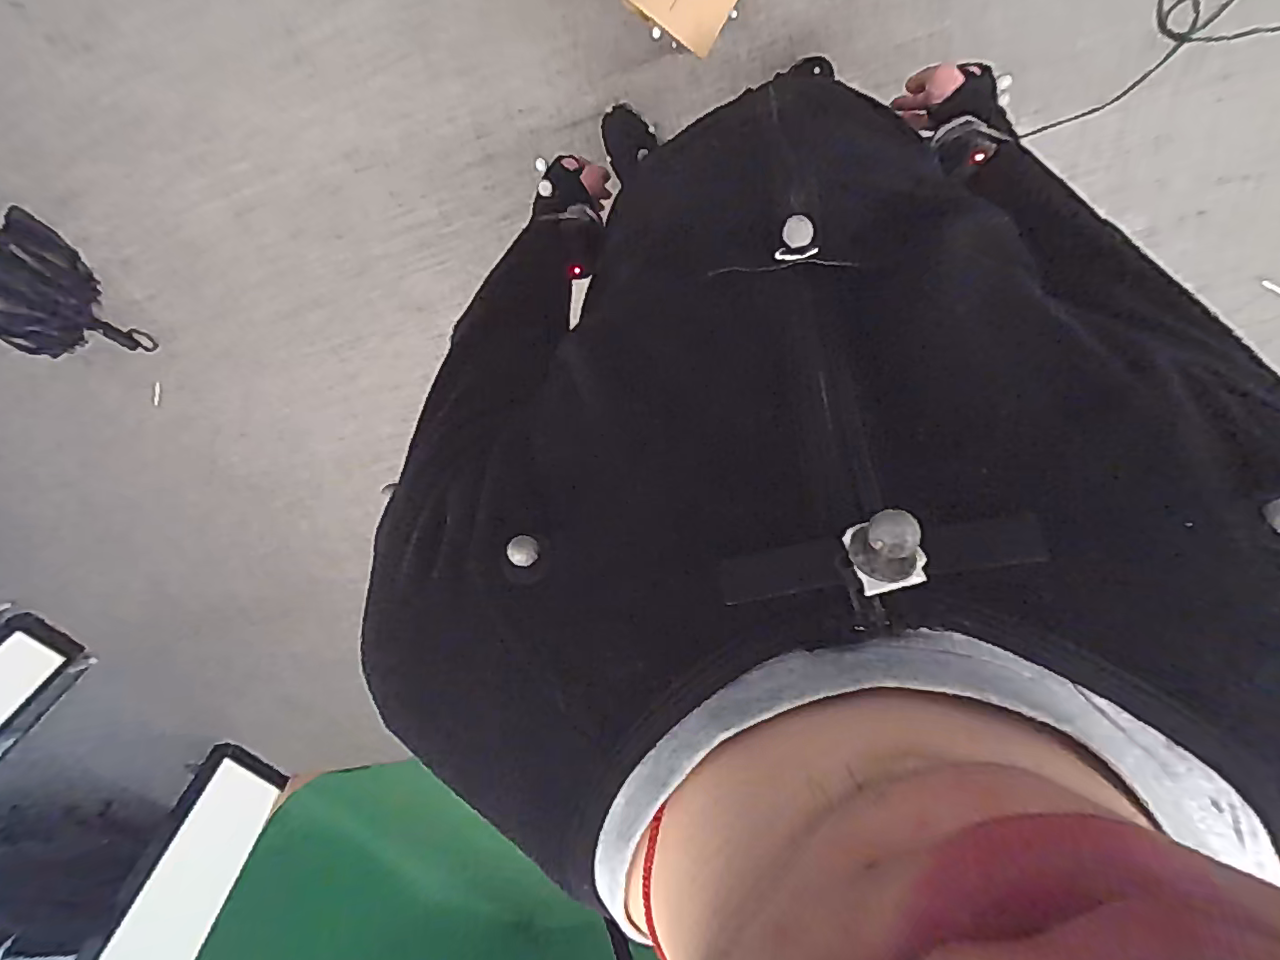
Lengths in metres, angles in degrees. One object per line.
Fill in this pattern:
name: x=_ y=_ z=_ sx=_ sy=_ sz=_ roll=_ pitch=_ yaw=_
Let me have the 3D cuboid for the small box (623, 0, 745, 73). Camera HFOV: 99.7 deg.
small box: x=0.085 y=-0.823 z=0.899 sx=0.168 sy=0.176 sz=0.179 roll=27 pitch=125 yaw=-17
